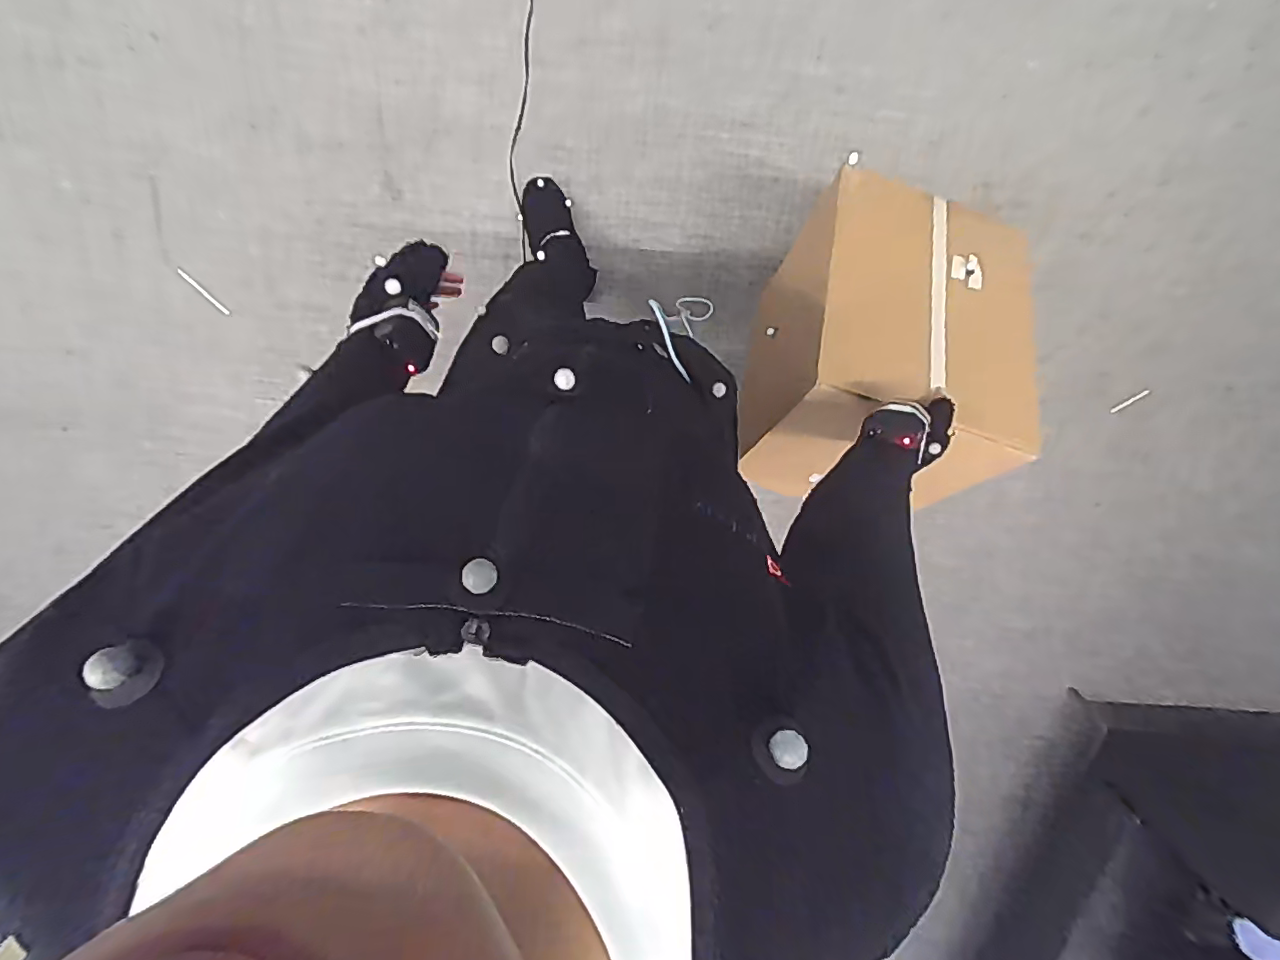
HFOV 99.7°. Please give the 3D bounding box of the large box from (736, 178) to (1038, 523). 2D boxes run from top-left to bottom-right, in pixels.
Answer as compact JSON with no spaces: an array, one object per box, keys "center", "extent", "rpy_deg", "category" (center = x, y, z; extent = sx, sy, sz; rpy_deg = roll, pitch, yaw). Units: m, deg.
[{"center":[0.375,-0.188,0.891],"extent":[0.320,0.408,0.320],"rpy_deg":[17,156,-7],"category":"large box"}]
